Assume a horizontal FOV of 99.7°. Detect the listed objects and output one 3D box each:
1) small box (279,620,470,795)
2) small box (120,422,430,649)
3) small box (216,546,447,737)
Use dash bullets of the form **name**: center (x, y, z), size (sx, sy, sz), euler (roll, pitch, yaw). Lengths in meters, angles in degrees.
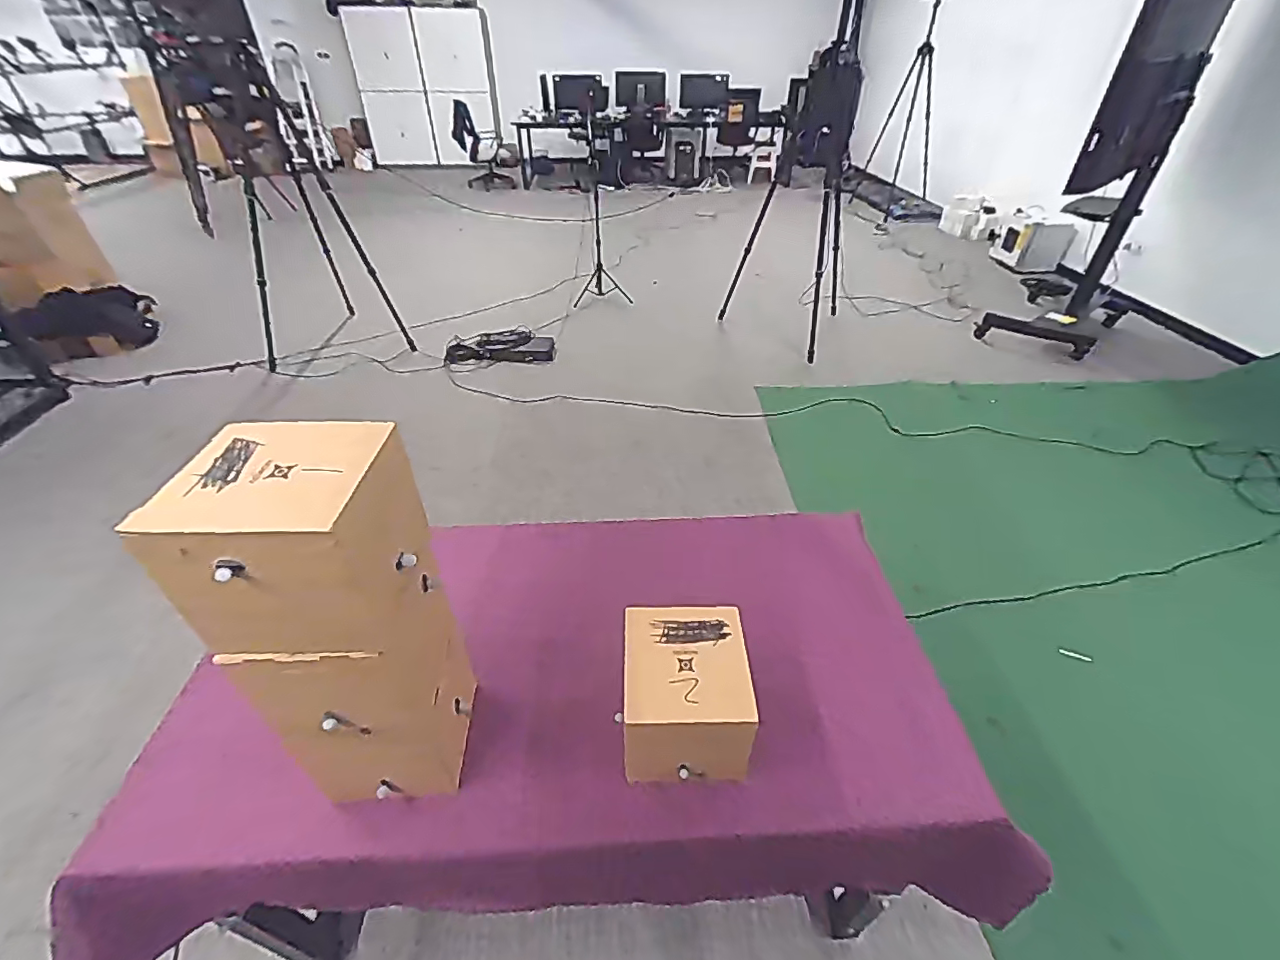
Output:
- **small box**: center (-0.347, 0.315, 0.753), size (0.179, 0.176, 0.168), euler (-2, 39, -4)
- **small box**: center (-0.338, 0.055, 0.549), size (0.179, 0.176, 0.168), euler (0, 39, -2)
- **small box**: center (-0.345, 0.184, 0.652), size (0.168, 0.176, 0.179), euler (-2, 40, -2)
